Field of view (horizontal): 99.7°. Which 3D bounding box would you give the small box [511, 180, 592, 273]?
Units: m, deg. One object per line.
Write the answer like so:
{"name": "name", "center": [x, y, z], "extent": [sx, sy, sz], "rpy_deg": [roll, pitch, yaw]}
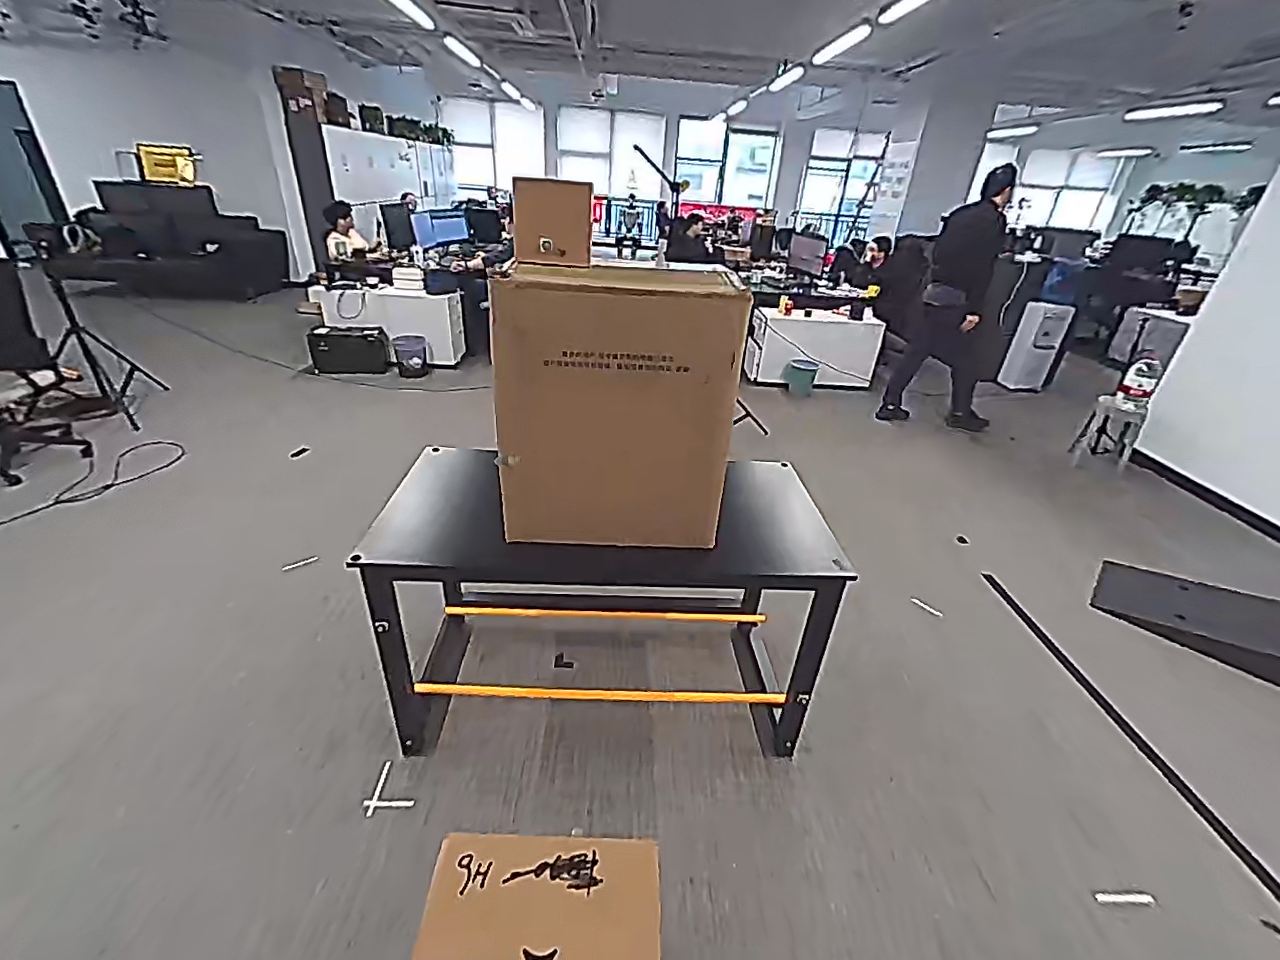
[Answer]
{"name": "small box", "center": [-0.193, -0.569, 1.213], "extent": [0.168, 0.176, 0.179], "rpy_deg": [0, 28, -5]}

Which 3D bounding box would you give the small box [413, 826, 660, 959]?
{"name": "small box", "center": [-0.072, 0.386, 0.402], "extent": [0.168, 0.176, 0.179], "rpy_deg": [3, 39, -2]}
